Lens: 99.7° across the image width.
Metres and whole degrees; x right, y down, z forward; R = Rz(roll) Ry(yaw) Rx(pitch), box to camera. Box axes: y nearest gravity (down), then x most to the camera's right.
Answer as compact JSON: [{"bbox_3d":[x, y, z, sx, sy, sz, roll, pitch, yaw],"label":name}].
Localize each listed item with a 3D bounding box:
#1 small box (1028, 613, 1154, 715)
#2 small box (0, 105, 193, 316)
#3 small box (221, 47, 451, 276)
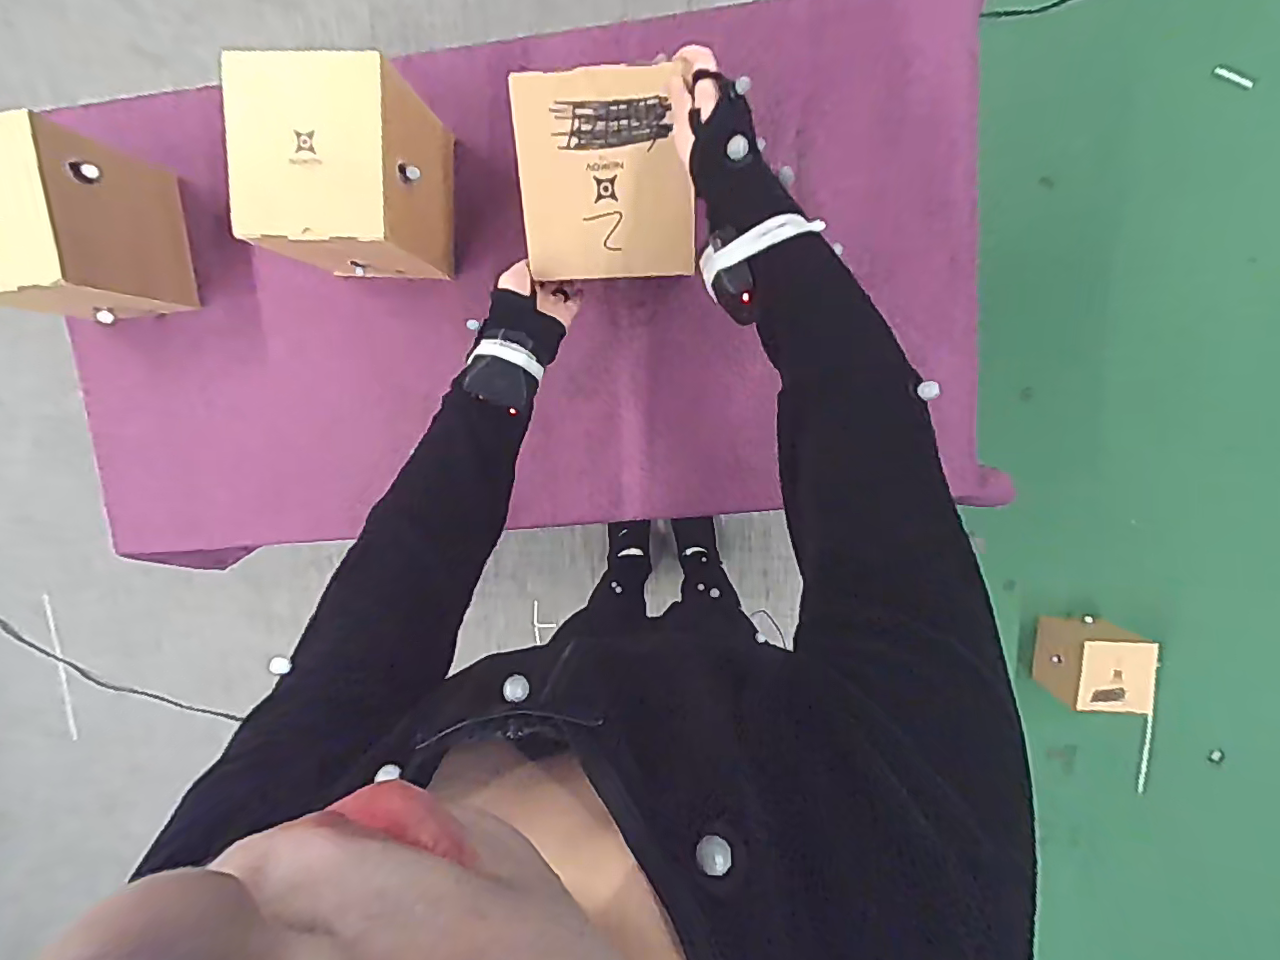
[{"bbox_3d":[1.109,0.452,1.346,0.168,0.176,0.179,2,101,5],"label":"small box"},{"bbox_3d":[-0.694,-0.306,0.650,0.168,0.176,0.179,-4,98,5],"label":"small box"},{"bbox_3d":[-0.330,-0.346,0.618,0.168,0.176,0.179,4,100,4],"label":"small box"}]
